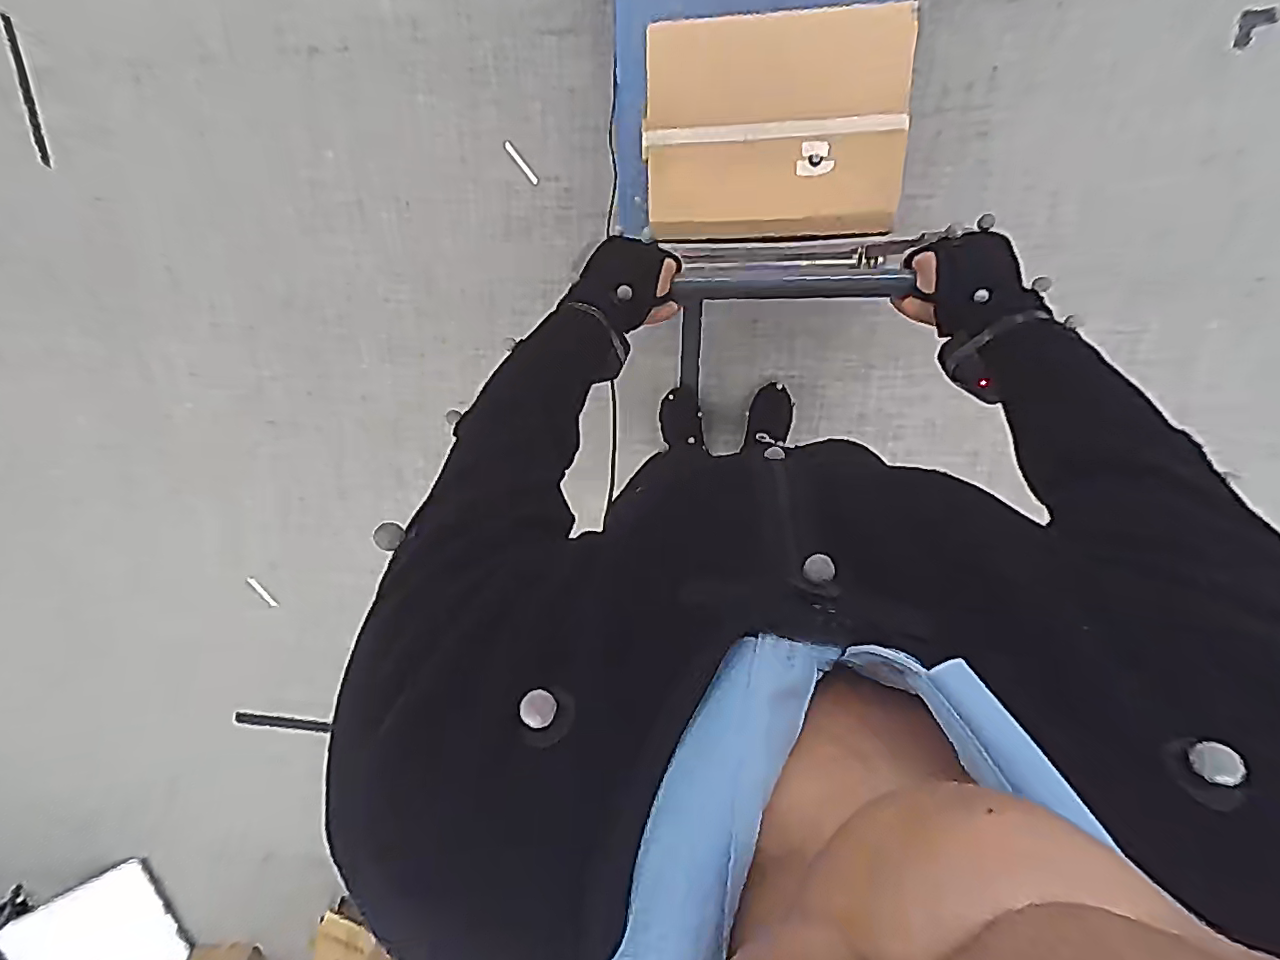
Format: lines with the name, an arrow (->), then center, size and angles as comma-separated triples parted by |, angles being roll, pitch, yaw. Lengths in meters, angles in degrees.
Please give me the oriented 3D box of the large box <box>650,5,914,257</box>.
large box -> 0.233, -0.605, 1.012 | 0.408, 0.320, 0.320 | 1, 108, 7
